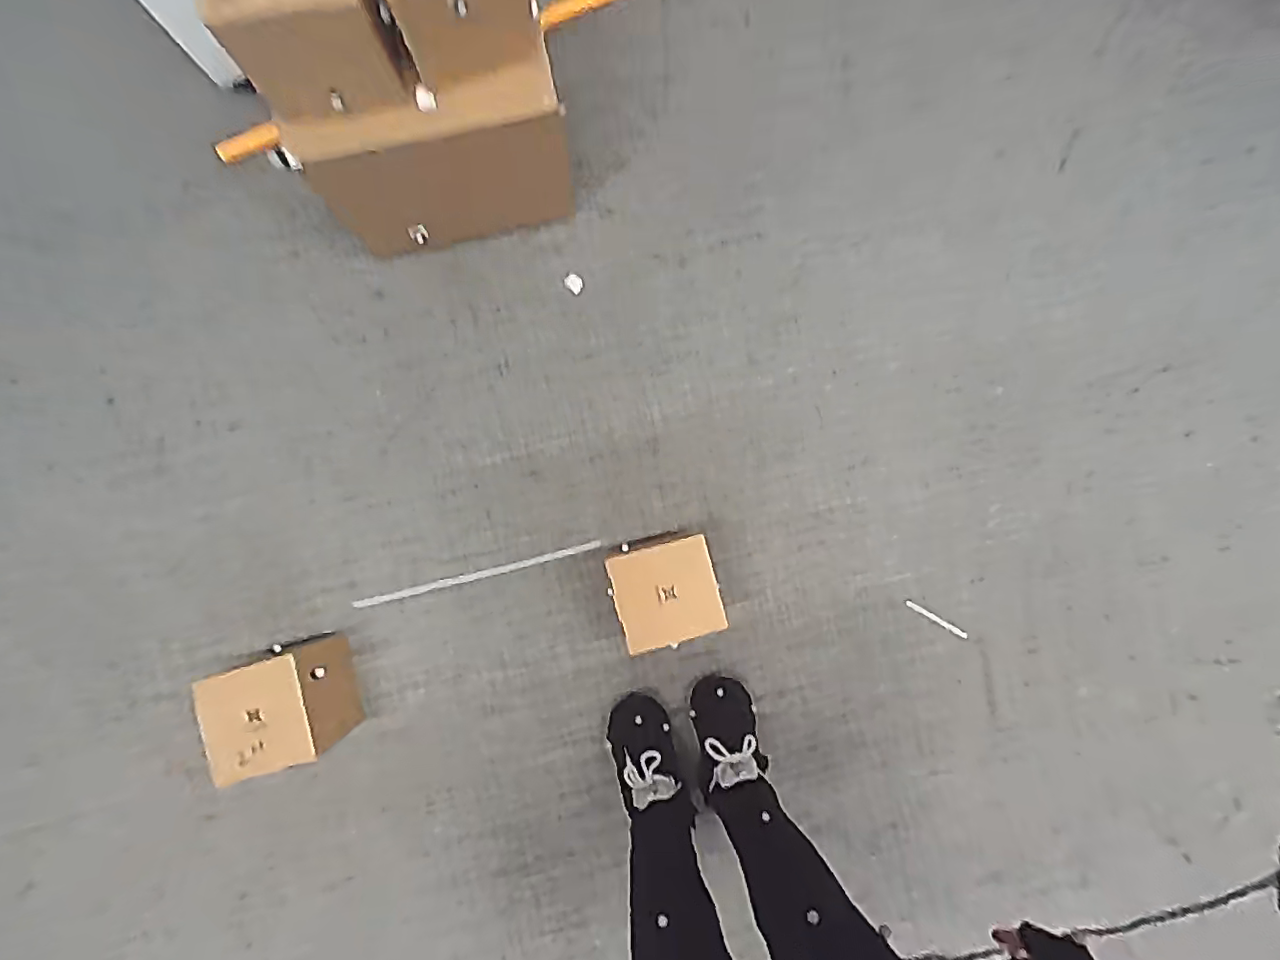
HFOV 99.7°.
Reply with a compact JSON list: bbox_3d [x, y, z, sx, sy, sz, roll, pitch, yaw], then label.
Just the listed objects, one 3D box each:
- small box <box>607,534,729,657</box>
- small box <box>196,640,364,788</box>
[{"bbox_3d":[0.043,0.198,0.980,0.179,0.176,0.168,-15,87,-3],"label":"small box"},{"bbox_3d":[-0.614,0.390,0.942,0.168,0.176,0.179,-15,87,-3],"label":"small box"}]
